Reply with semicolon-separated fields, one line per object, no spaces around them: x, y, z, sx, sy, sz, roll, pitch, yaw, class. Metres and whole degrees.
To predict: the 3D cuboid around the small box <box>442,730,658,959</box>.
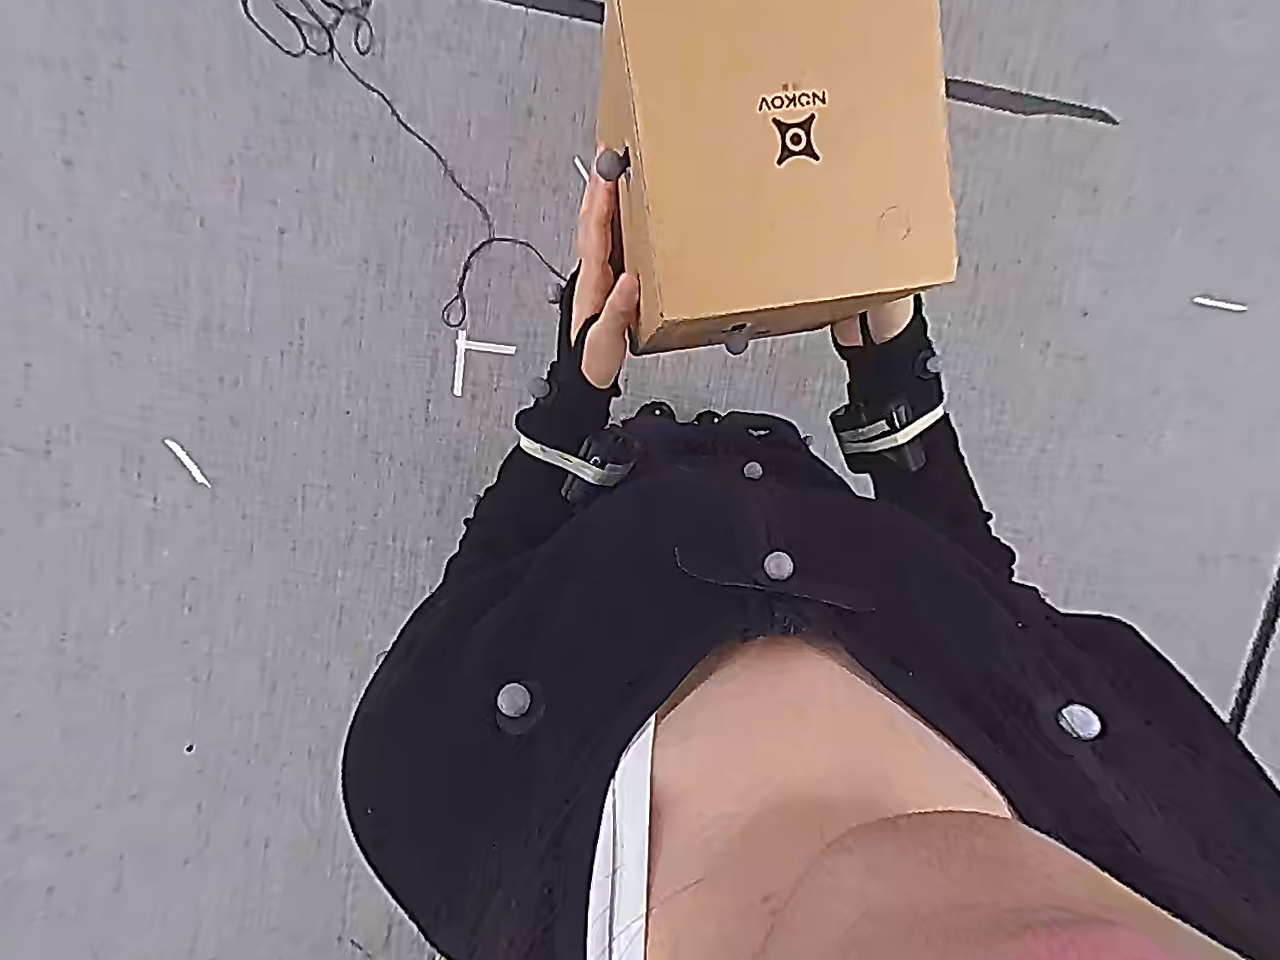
-0.070;0.352;0.501;0.168;0.176;0.179;-2;96;0;small box

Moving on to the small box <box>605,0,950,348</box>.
0.071;-0.190;0.362;0.168;0.176;0.179;-10;96;-5;small box
